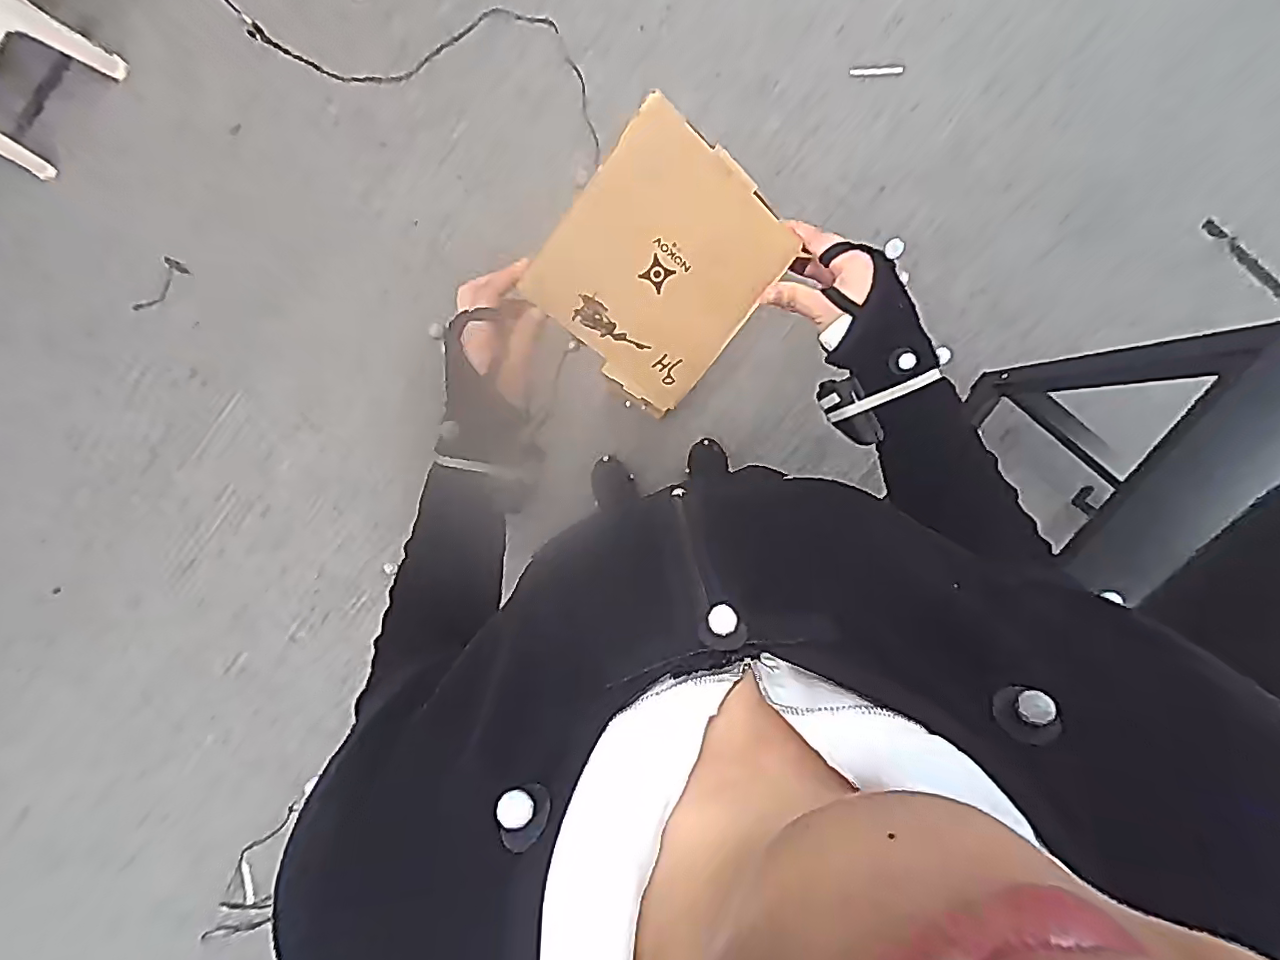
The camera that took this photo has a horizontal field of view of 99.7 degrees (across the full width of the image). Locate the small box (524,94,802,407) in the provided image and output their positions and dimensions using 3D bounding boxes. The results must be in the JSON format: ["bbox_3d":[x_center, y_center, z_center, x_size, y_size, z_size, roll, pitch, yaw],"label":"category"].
[{"bbox_3d":[0.008,-0.200,0.505,0.168,0.176,0.179,35,101,-20],"label":"small box"}]

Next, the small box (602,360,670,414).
[{"bbox_3d":[0.033,-0.263,1.236,0.168,0.176,0.179,32,93,-2],"label":"small box"}]

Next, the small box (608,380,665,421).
[{"bbox_3d":[0.034,-0.270,1.398,0.168,0.176,0.179,35,95,-2],"label":"small box"}]
